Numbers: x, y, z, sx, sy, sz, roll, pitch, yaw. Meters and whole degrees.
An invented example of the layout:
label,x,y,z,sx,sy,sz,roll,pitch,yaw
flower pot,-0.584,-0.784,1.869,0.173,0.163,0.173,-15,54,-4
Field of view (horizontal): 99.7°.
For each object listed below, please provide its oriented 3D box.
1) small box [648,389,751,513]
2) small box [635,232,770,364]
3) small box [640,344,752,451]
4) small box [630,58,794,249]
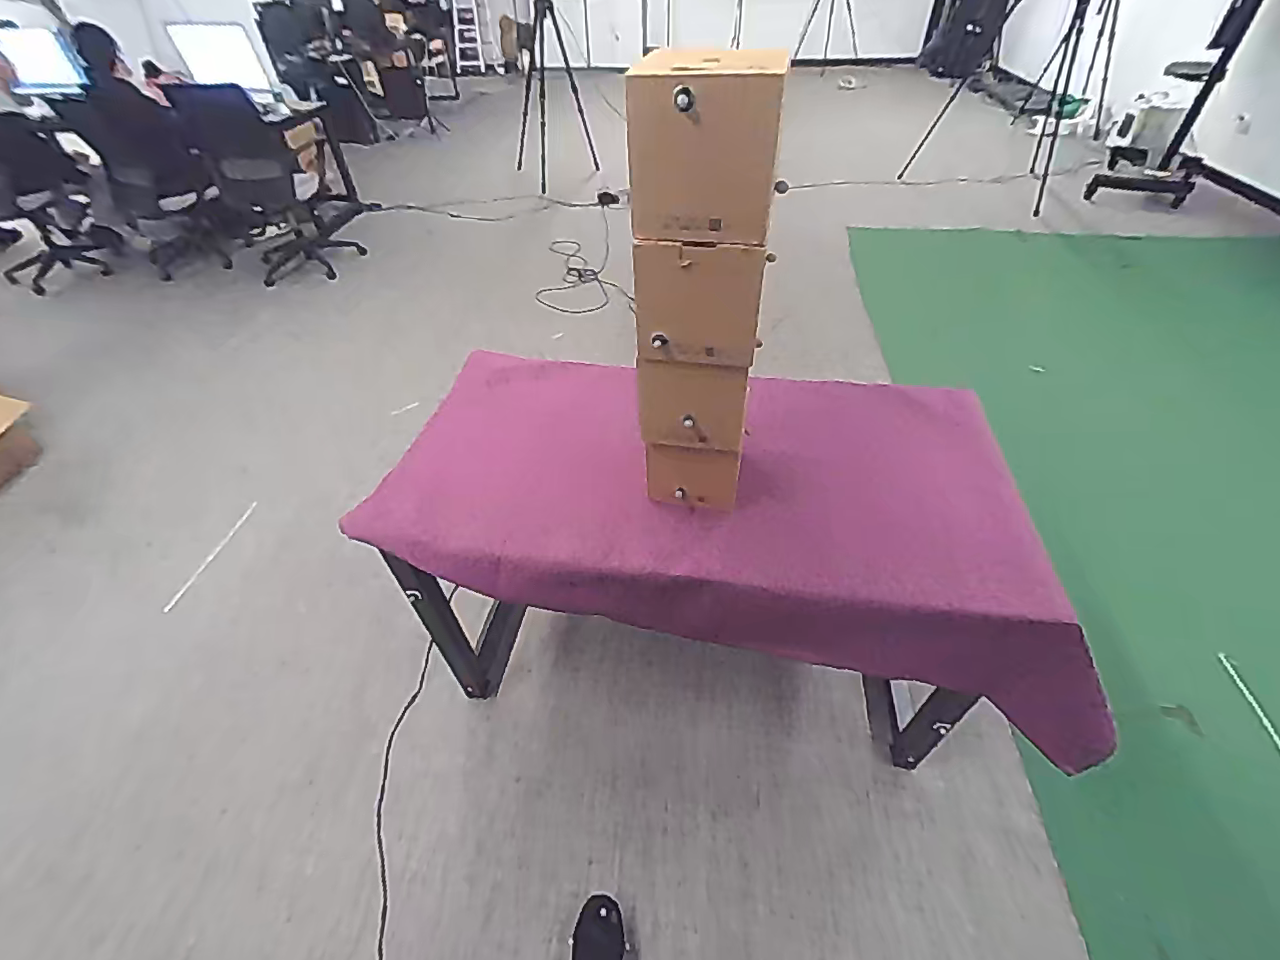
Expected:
label,x,y,z,sx,sy,sz,roll,pitch,yaw
small box,0.112,-0.065,1.020,0.168,0.176,0.179,8,46,11
small box,0.095,-0.282,0.775,0.168,0.176,0.179,7,44,10
small box,0.098,-0.172,0.896,0.168,0.176,0.179,6,45,10
small box,0.089,-0.403,0.664,0.168,0.176,0.179,8,44,12
